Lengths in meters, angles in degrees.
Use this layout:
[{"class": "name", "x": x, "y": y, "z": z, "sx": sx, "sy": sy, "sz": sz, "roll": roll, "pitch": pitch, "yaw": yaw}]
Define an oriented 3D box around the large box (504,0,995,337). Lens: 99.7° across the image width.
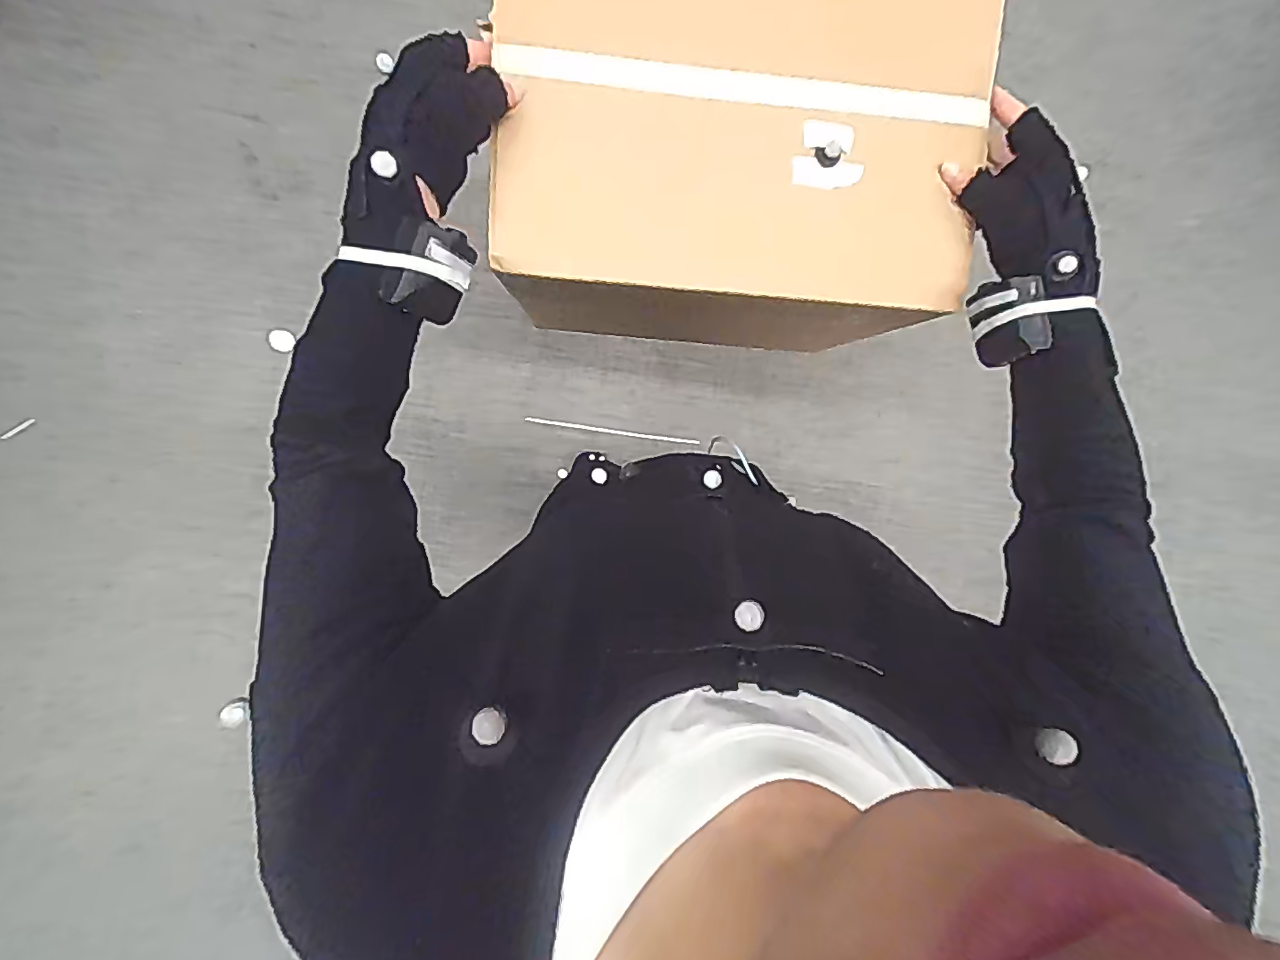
[{"class": "large box", "x": 0.077, "y": -0.343, "z": 0.588, "sx": 0.408, "sy": 0.320, "sz": 0.320, "roll": 3, "pitch": 98, "yaw": -6}]
